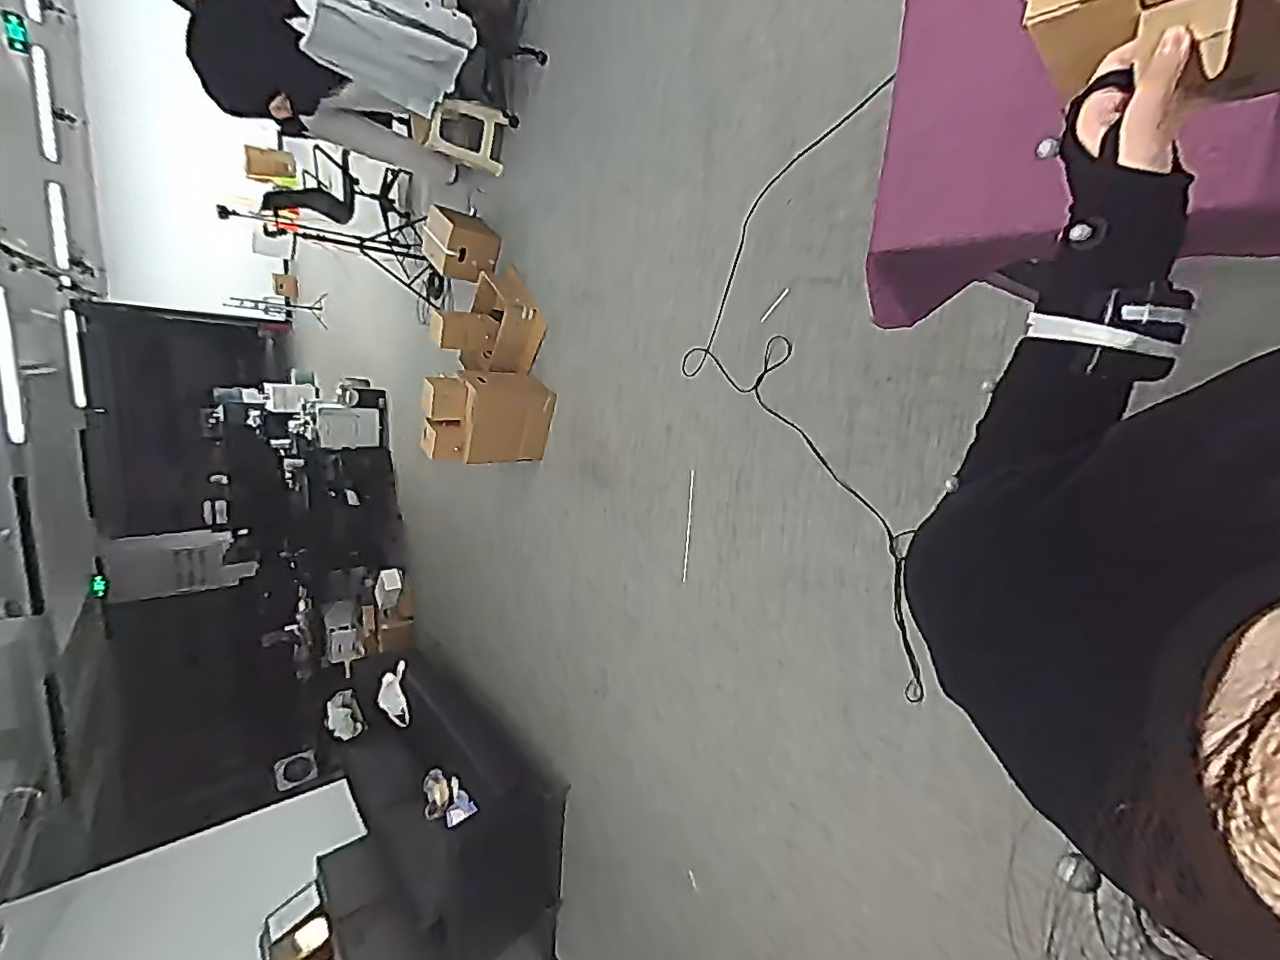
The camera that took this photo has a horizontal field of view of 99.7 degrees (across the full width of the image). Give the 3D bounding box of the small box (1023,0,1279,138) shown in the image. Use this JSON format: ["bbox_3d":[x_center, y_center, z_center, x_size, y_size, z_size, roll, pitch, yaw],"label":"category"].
[{"bbox_3d":[0.403,-0.383,0.377,0.168,0.176,0.179,18,102,47],"label":"small box"}]
